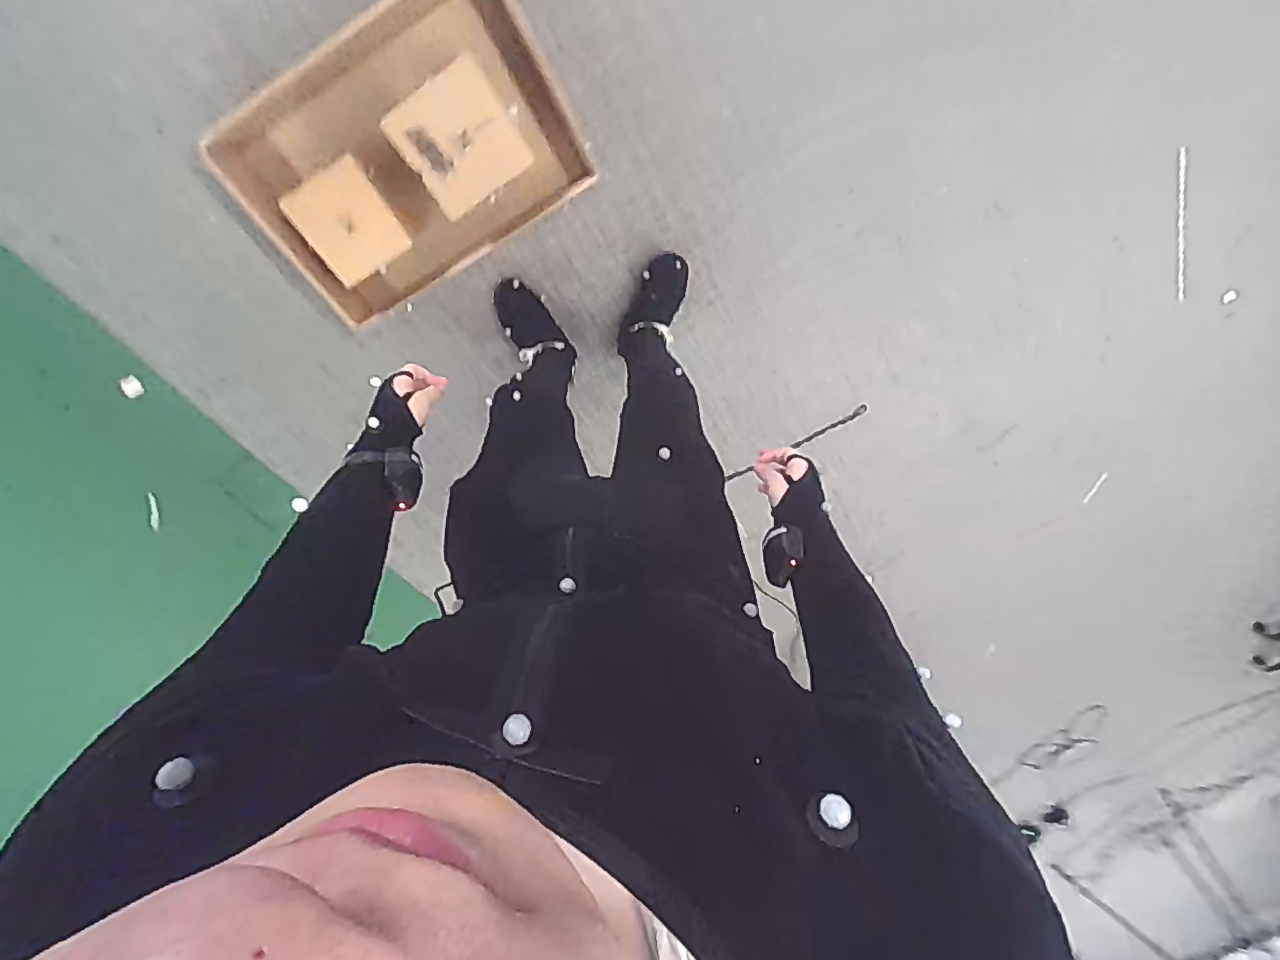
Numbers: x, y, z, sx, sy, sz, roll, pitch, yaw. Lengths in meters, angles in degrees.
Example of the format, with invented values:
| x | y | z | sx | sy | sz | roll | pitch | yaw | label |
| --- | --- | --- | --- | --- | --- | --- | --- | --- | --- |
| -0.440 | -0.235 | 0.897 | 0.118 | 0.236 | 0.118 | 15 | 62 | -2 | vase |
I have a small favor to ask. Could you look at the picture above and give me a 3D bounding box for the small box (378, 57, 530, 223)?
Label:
| x | y | z | sx | sy | sz | roll | pitch | yaw | label |
| --- | --- | --- | --- | --- | --- | --- | --- | --- | --- |
| -0.301 | -0.570 | 0.921 | 0.179 | 0.176 | 0.168 | -32 | 122 | 8 | small box |
